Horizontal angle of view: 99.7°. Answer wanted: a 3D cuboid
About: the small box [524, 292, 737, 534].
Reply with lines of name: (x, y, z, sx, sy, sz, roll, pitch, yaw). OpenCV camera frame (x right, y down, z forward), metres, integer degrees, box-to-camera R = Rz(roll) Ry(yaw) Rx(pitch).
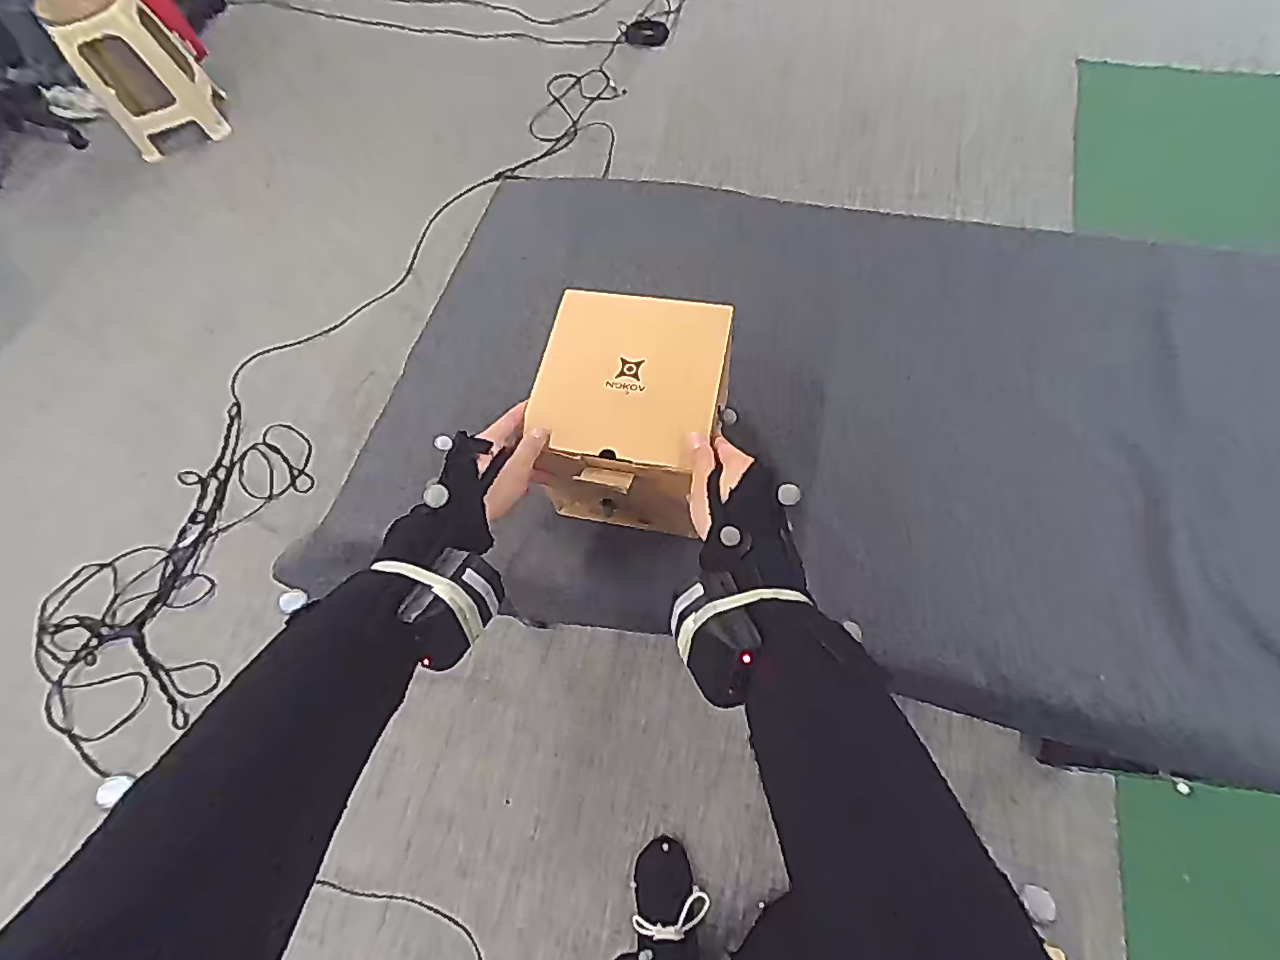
small box: (0.000, -0.062, 0.558, 0.168, 0.176, 0.179, 9, 67, 9)
